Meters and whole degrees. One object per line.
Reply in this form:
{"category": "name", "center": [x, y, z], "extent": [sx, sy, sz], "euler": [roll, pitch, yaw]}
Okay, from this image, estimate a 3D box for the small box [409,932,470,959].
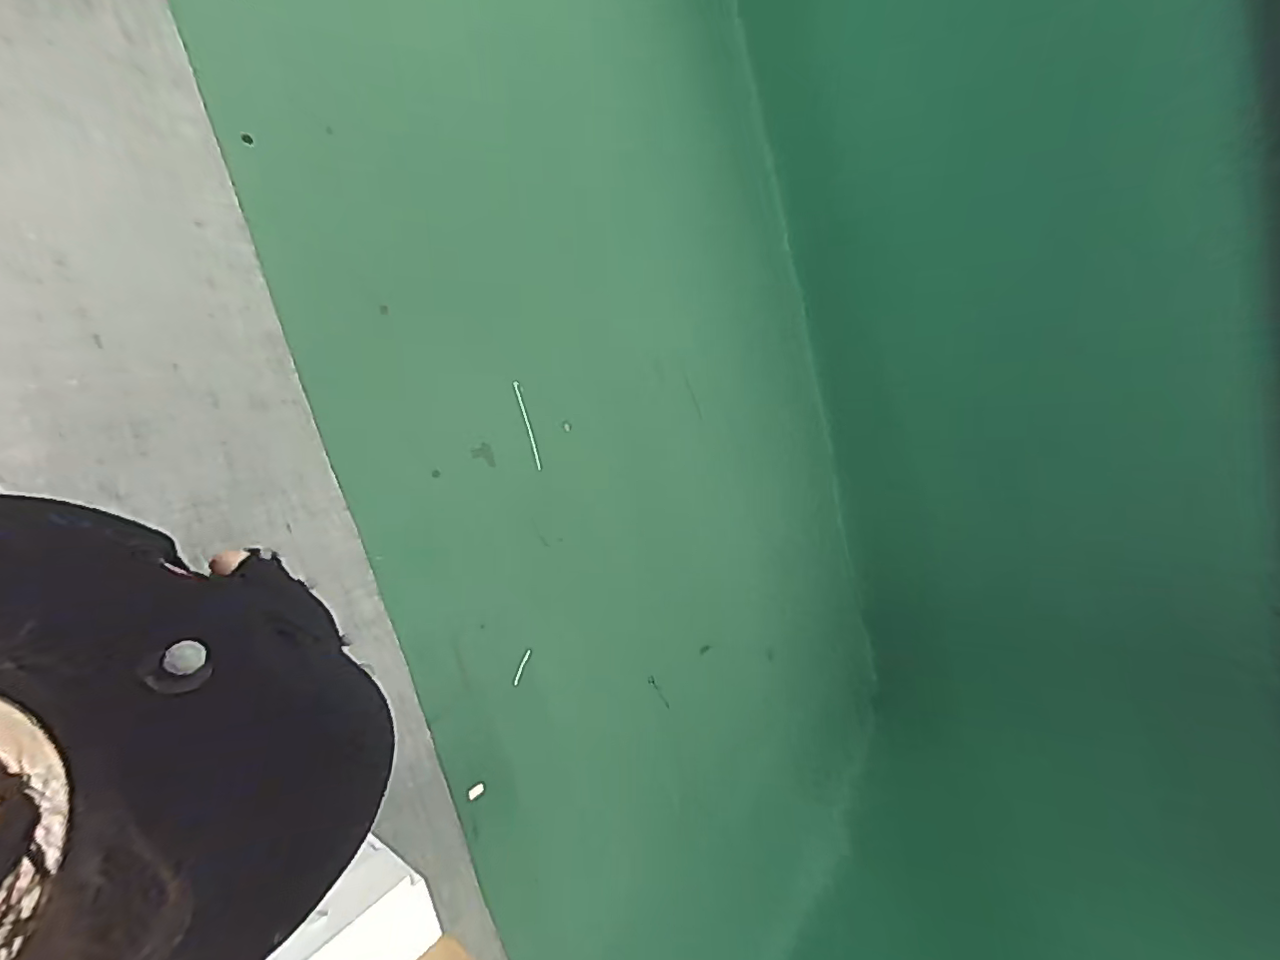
{"category": "small box", "center": [-0.326, 0.875, 0.845], "extent": [0.179, 0.176, 0.168], "euler": [-22, 101, -46]}
